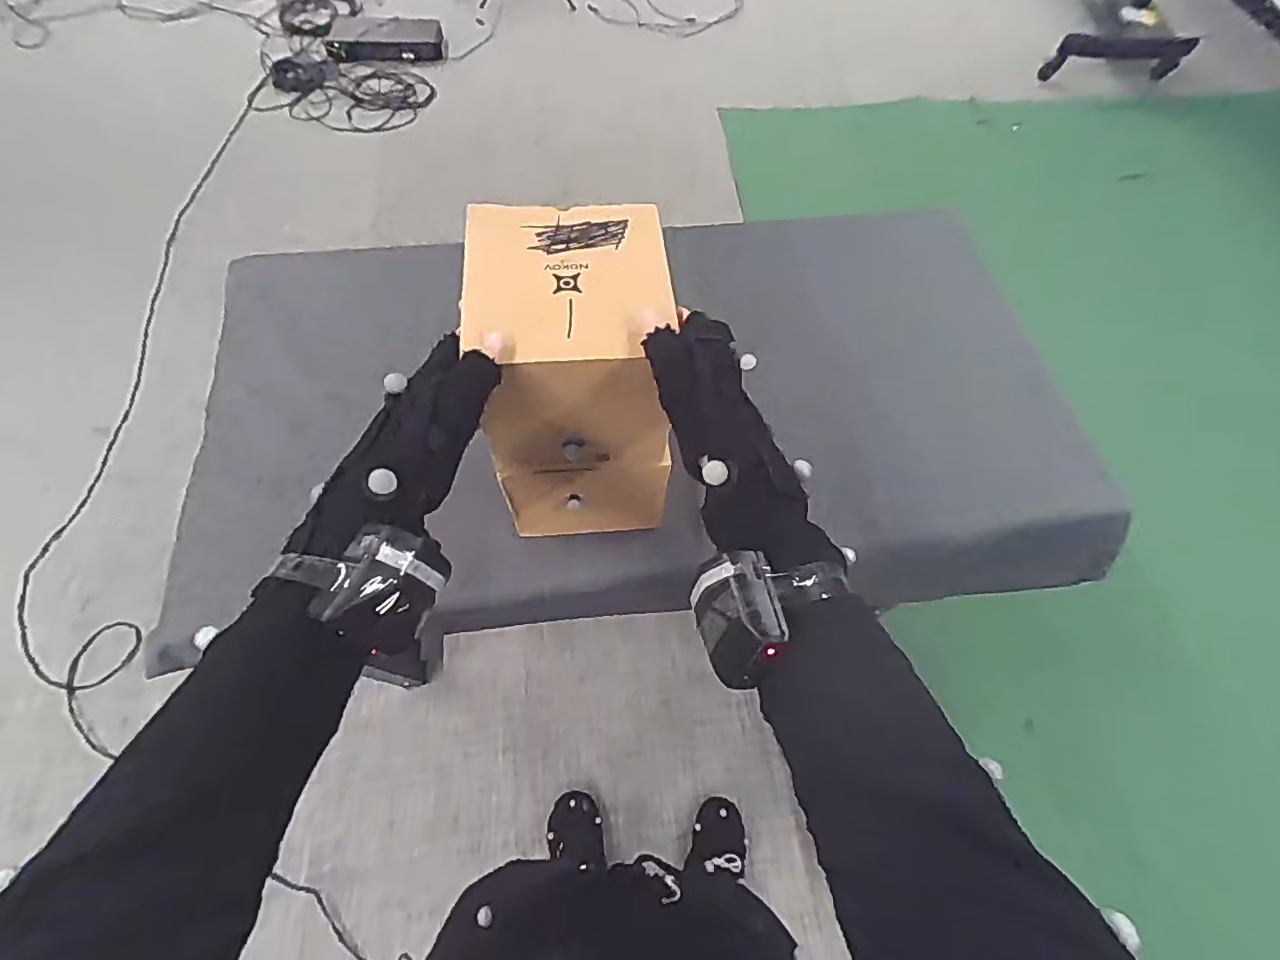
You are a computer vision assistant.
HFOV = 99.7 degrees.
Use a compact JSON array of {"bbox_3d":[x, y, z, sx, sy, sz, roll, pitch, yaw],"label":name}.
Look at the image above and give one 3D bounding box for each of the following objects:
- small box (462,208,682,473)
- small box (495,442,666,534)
[{"bbox_3d":[-0.061,-0.123,0.506,0.168,0.176,0.179,-3,63,-5],"label":"small box"},{"bbox_3d":[-0.067,-0.041,0.650,0.179,0.176,0.168,-3,63,-5],"label":"small box"}]
